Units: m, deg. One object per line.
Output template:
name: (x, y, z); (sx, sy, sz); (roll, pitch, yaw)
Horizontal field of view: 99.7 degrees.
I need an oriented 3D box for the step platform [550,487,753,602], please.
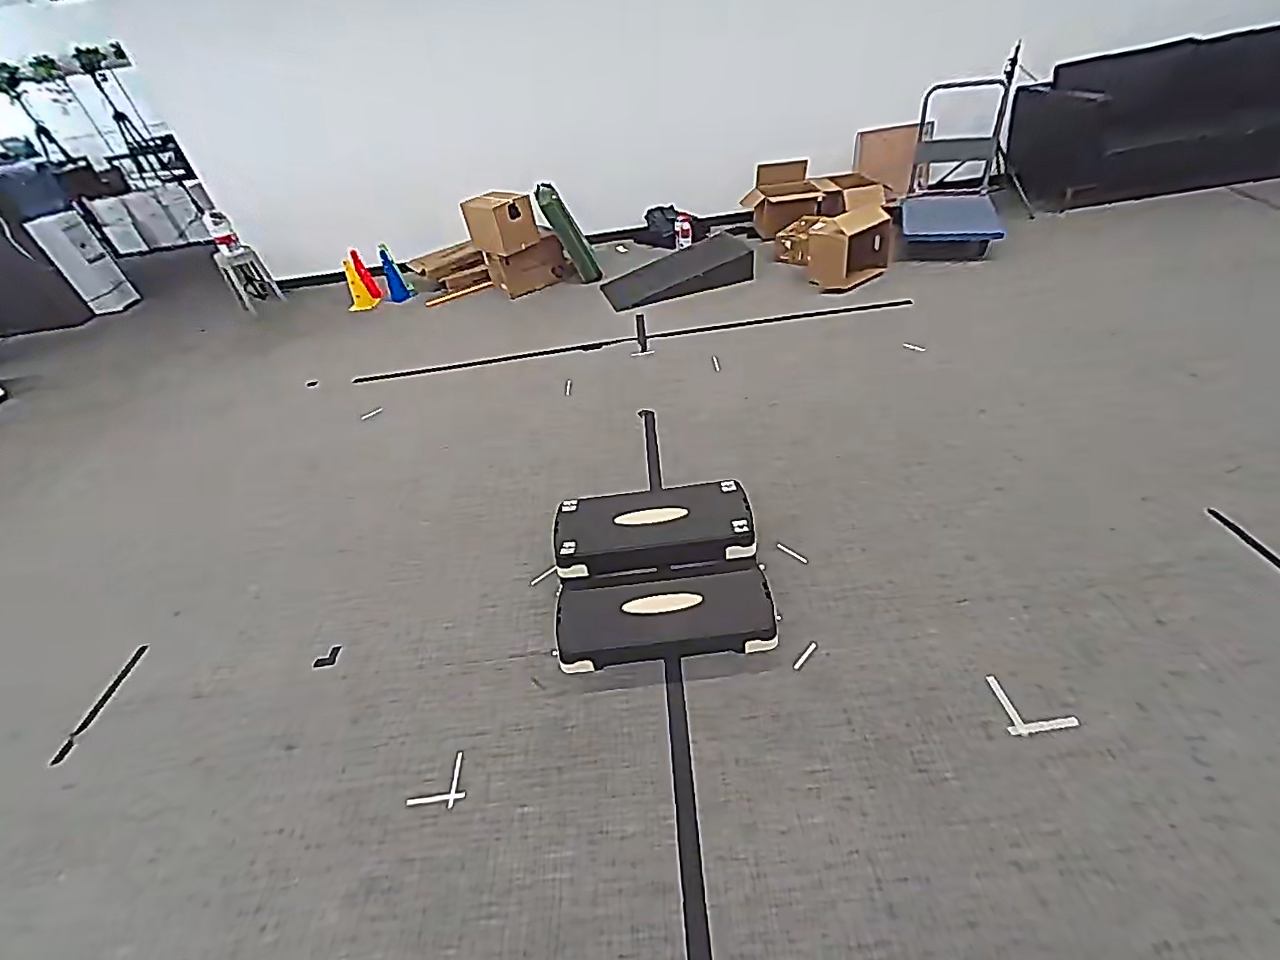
step platform: (0.036, 0.214, 1.858); (0.684, 0.204, 0.286); (-7, 41, 1)
